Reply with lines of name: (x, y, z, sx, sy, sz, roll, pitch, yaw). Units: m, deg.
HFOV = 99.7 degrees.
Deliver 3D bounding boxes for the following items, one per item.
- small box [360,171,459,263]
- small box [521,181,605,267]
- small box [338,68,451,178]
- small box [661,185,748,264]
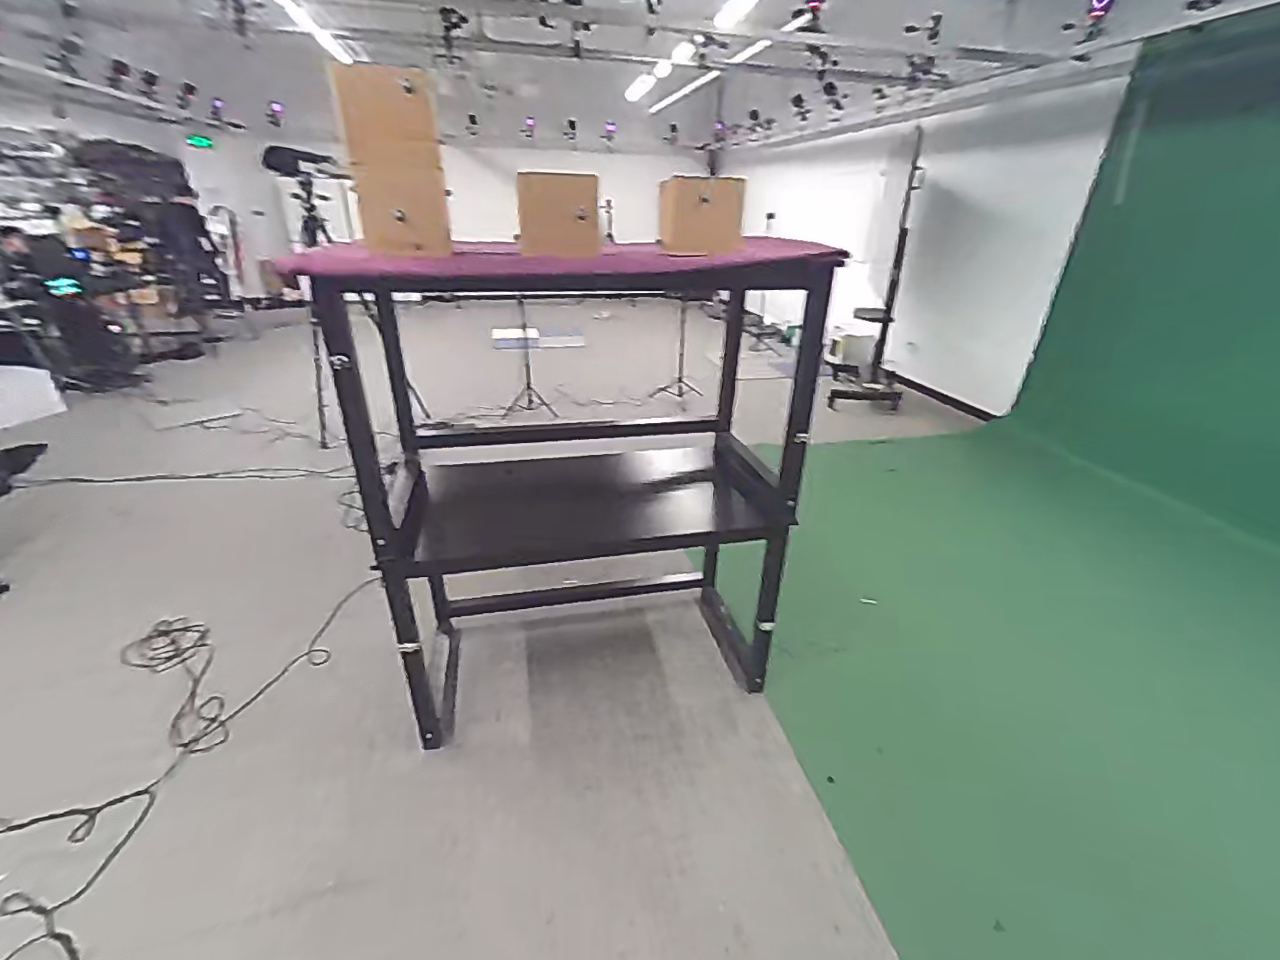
small box: (-0.492, -0.571, 1.182, 0.168, 0.176, 0.179, -4, 27, -14)
small box: (-0.180, -0.594, 1.258, 0.179, 0.176, 0.168, -6, 26, -13)
small box: (-0.491, -0.716, 1.107, 0.179, 0.176, 0.168, -5, 28, -15)
small box: (0.154, -0.632, 1.350, 0.179, 0.176, 0.168, -4, 24, -11)
